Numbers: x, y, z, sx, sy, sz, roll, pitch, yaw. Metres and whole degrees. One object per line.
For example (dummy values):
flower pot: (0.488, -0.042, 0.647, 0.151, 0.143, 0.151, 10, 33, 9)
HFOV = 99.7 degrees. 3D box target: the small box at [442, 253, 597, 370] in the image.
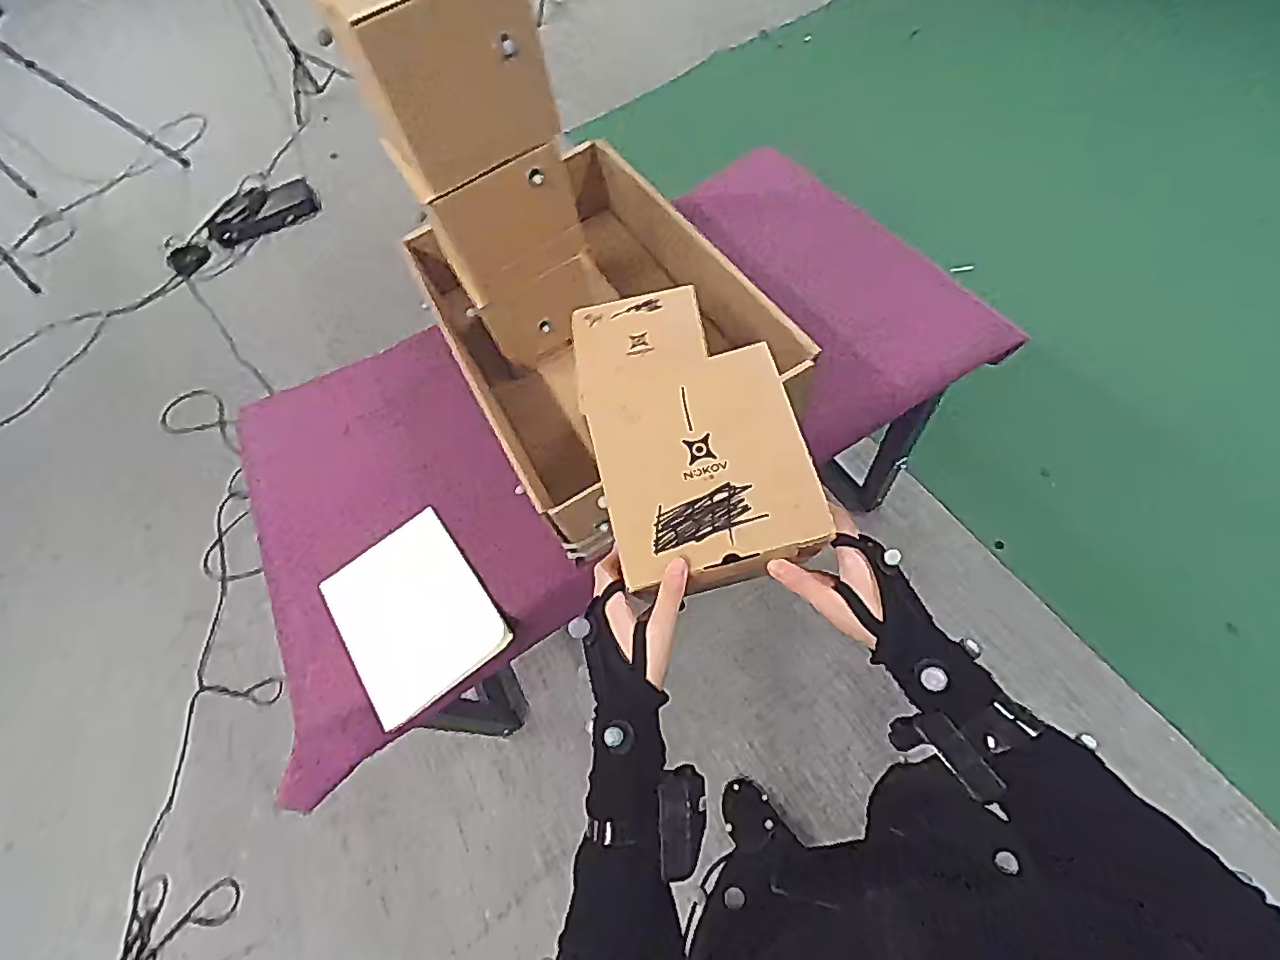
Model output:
small box: (-0.189, -0.304, 0.881, 0.168, 0.176, 0.179, -30, 63, -6)

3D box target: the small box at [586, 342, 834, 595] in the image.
small box: (0.061, 0.005, 0.508, 0.168, 0.176, 0.179, -15, 72, 2)

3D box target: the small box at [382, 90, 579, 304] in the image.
small box: (-0.206, -0.376, 0.737, 0.179, 0.176, 0.168, -32, 63, -8)
